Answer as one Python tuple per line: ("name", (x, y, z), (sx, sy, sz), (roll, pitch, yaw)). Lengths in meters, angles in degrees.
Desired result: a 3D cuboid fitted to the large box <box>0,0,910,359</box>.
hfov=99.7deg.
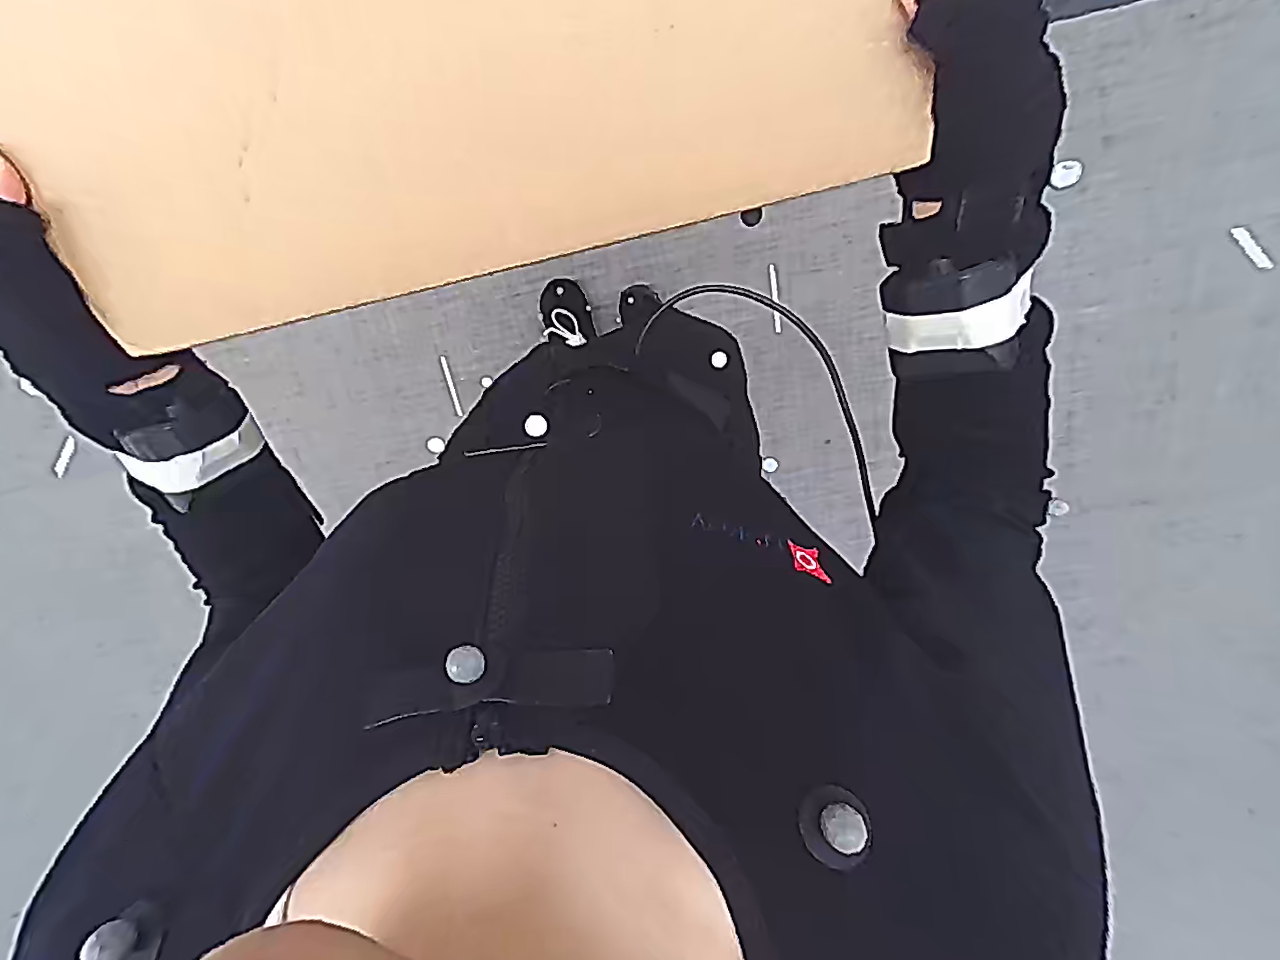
("large box", (-0.105, -0.312, 0.318), (0.408, 0.320, 0.320), (-12, 122, 5))
